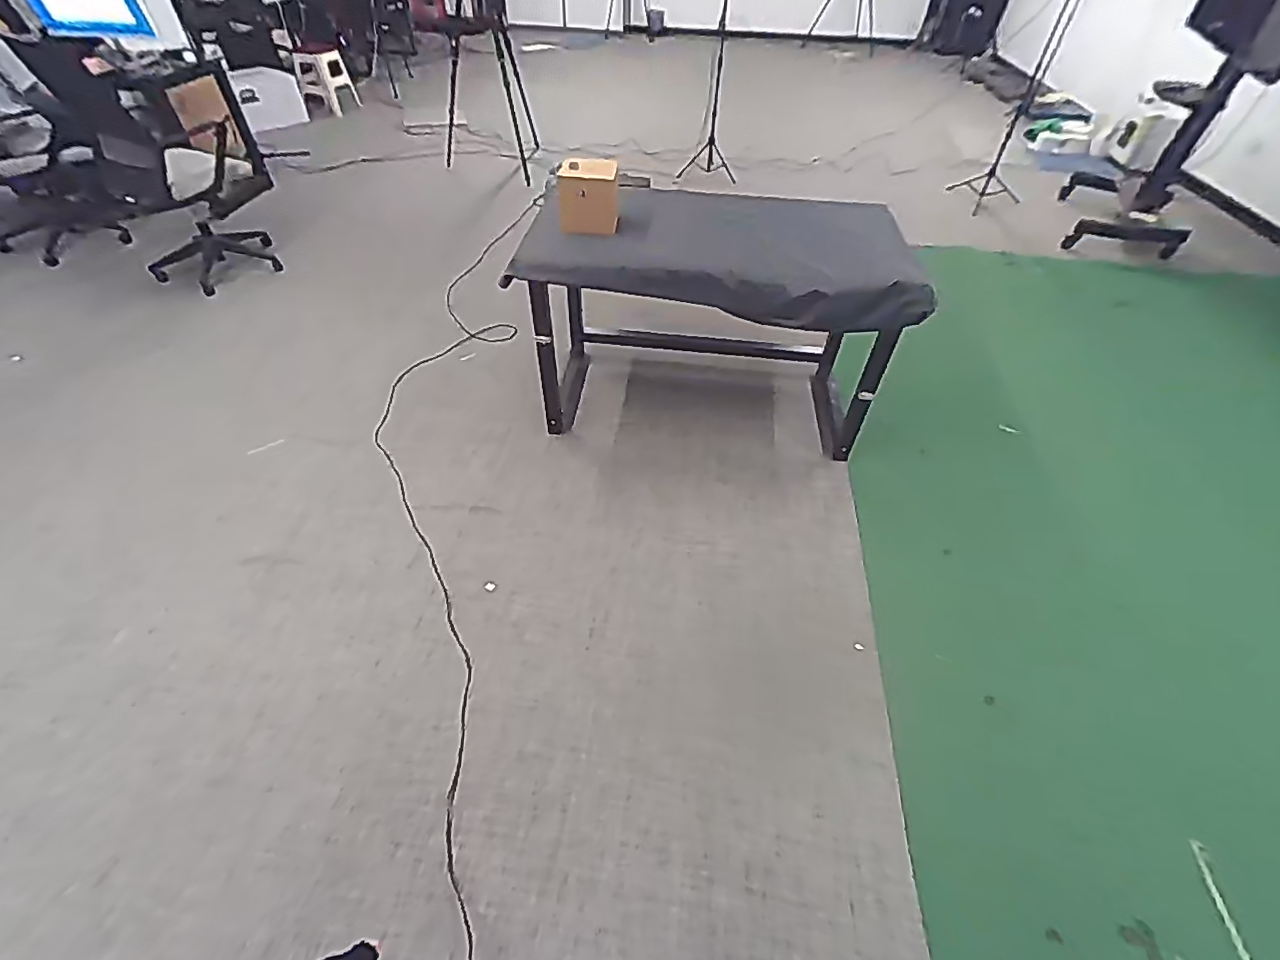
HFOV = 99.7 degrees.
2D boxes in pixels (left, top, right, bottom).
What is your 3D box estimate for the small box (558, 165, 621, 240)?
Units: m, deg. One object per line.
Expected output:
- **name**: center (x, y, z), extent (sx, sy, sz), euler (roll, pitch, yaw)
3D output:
- **small box**: center (-0.157, -0.886, 1.729), extent (0.179, 0.176, 0.168), euler (4, 47, 1)
